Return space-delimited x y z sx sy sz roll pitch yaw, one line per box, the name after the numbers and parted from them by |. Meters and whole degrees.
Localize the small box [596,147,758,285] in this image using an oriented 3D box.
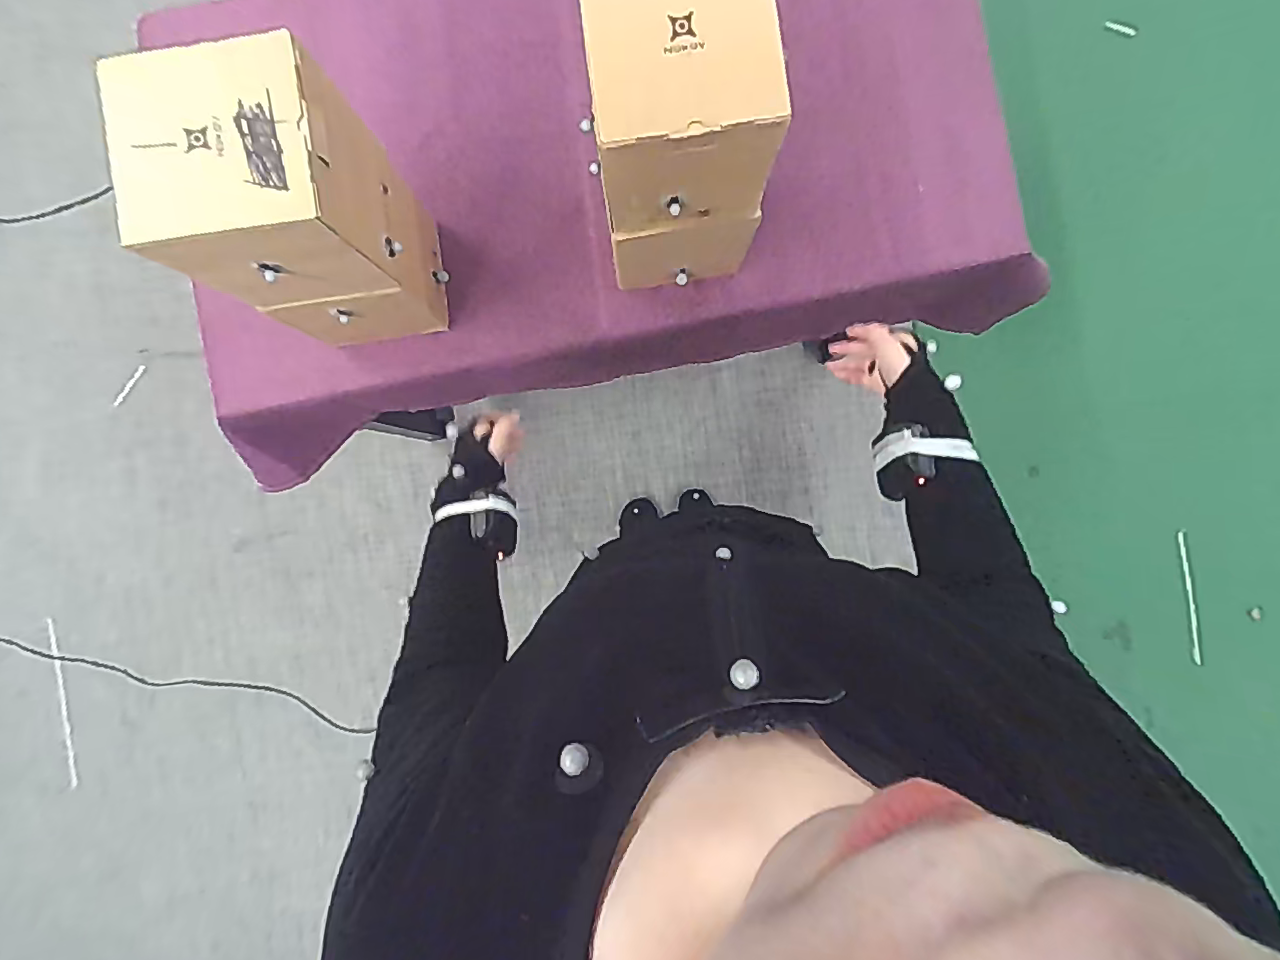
0.039 -0.373 0.705 0.179 0.176 0.168 -9 89 0 | small box

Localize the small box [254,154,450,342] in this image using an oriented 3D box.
-0.374 -0.289 0.710 0.179 0.176 0.168 -8 90 0 | small box

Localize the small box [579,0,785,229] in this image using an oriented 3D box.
0.033 -0.384 0.541 0.168 0.176 0.179 -8 91 1 | small box

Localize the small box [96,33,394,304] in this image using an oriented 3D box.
-0.371 -0.293 0.546 0.179 0.176 0.168 -9 90 1 | small box
